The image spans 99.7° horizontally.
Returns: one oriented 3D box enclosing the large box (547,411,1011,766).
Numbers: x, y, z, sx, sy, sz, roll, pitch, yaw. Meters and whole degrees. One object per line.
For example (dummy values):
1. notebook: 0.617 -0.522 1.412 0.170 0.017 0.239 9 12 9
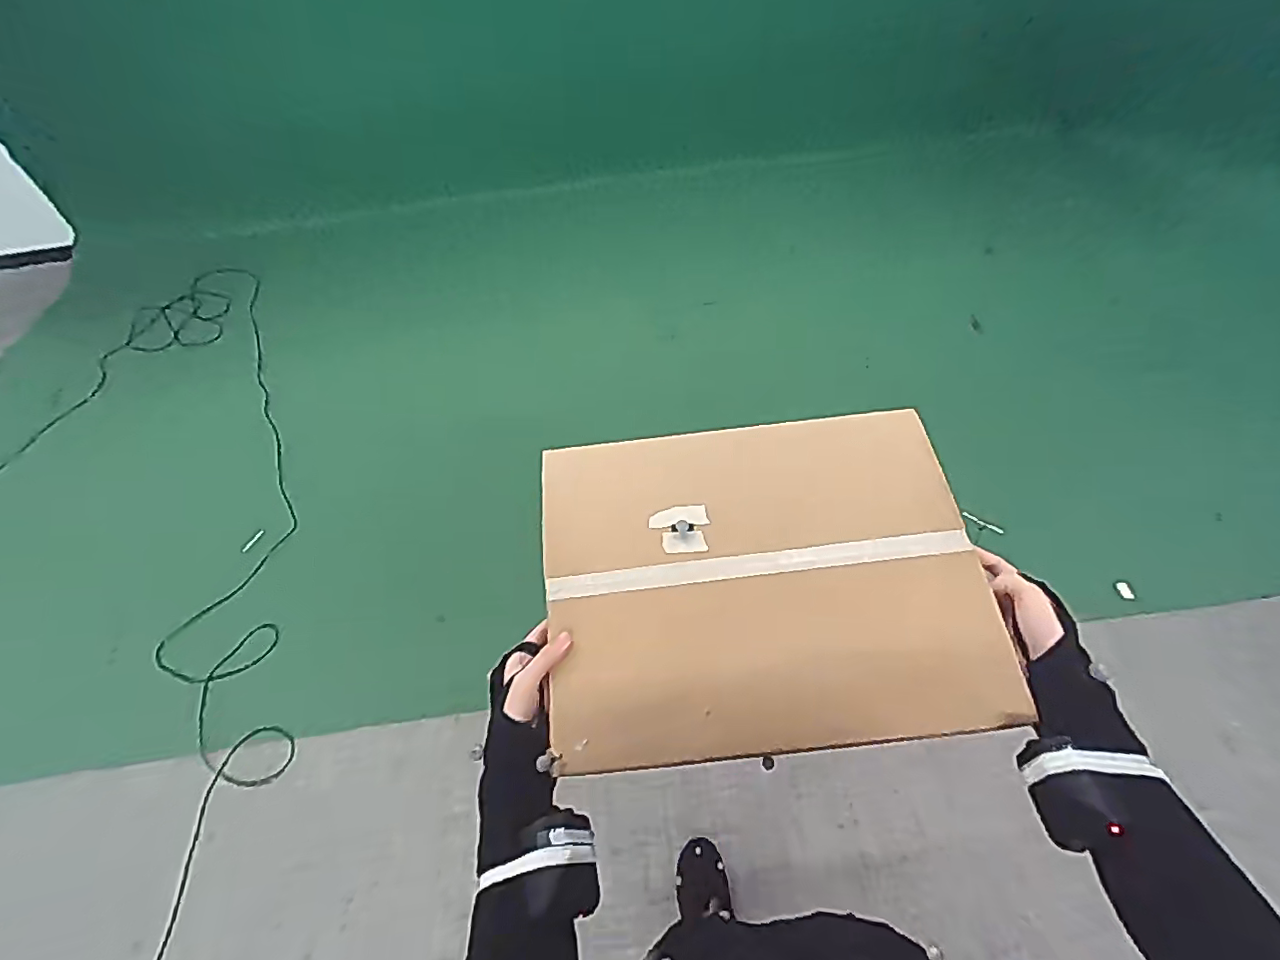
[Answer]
1. large box: 0.122 0.150 0.665 0.408 0.320 0.320 -7 63 2
